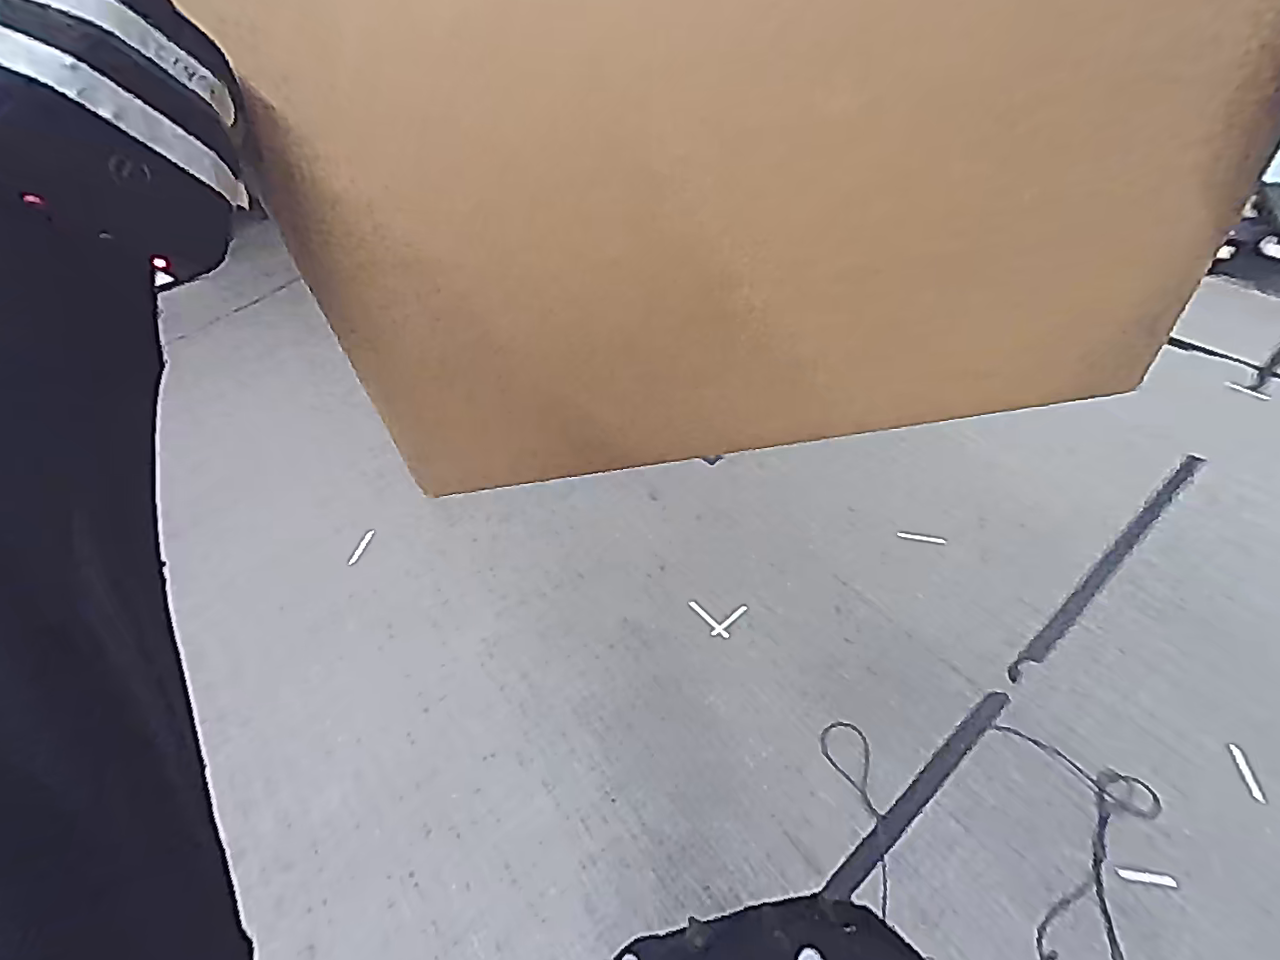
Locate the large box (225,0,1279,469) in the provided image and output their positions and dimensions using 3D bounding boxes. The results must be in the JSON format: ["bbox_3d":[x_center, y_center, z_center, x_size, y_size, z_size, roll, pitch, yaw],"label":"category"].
[{"bbox_3d":[0.051,-0.238,0.318,0.408,0.320,0.320,-8,42,0],"label":"large box"}]
